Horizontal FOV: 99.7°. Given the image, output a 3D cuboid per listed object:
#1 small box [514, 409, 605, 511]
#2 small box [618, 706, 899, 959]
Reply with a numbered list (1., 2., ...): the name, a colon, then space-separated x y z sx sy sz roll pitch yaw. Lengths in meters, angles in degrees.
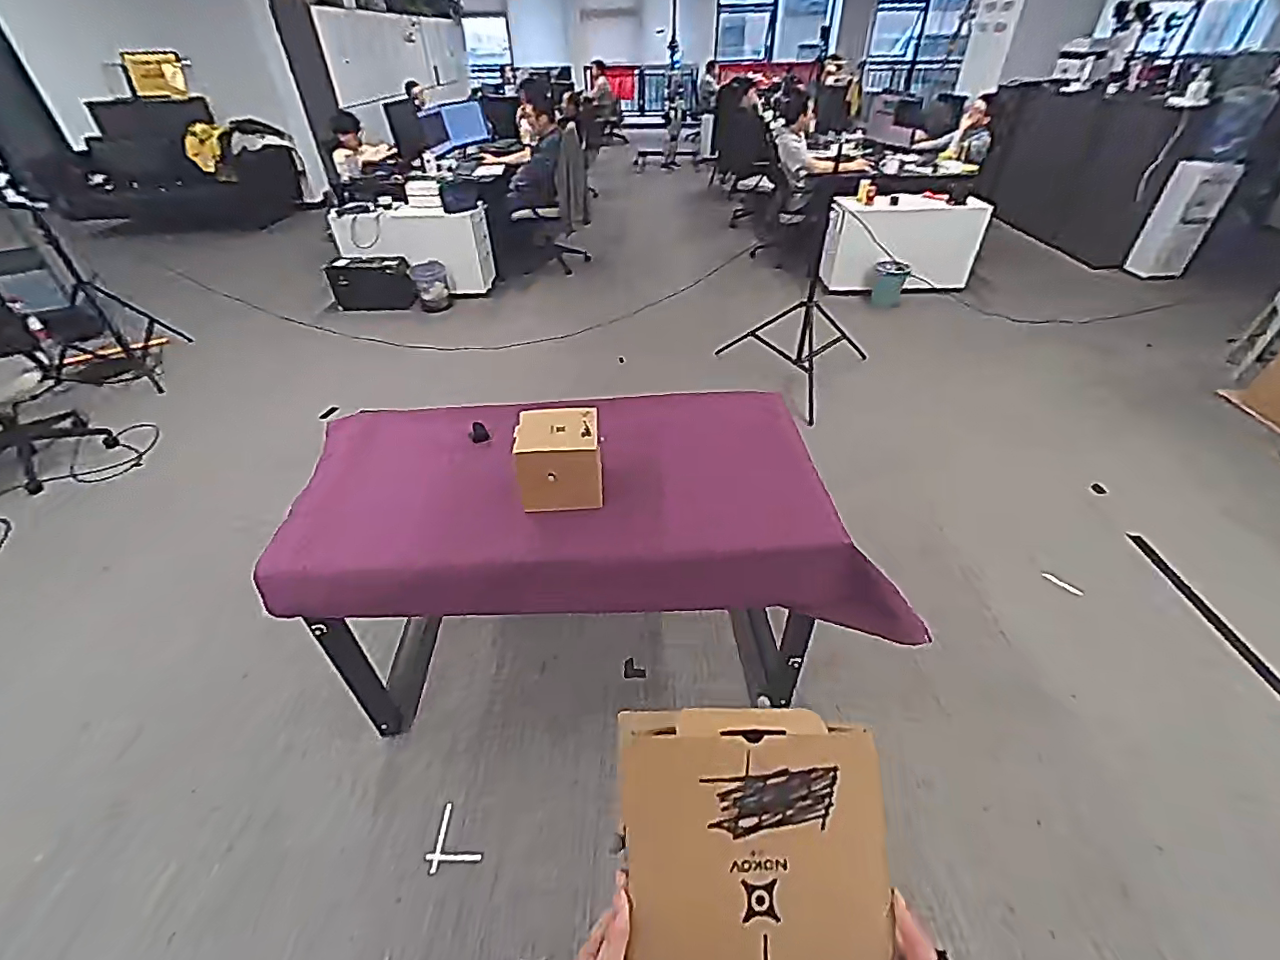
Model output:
1. small box: -0.173 -0.043 1.224 0.179 0.176 0.168 -4 39 -2
2. small box: 0.068 0.269 0.414 0.168 0.176 0.179 1 70 -4
